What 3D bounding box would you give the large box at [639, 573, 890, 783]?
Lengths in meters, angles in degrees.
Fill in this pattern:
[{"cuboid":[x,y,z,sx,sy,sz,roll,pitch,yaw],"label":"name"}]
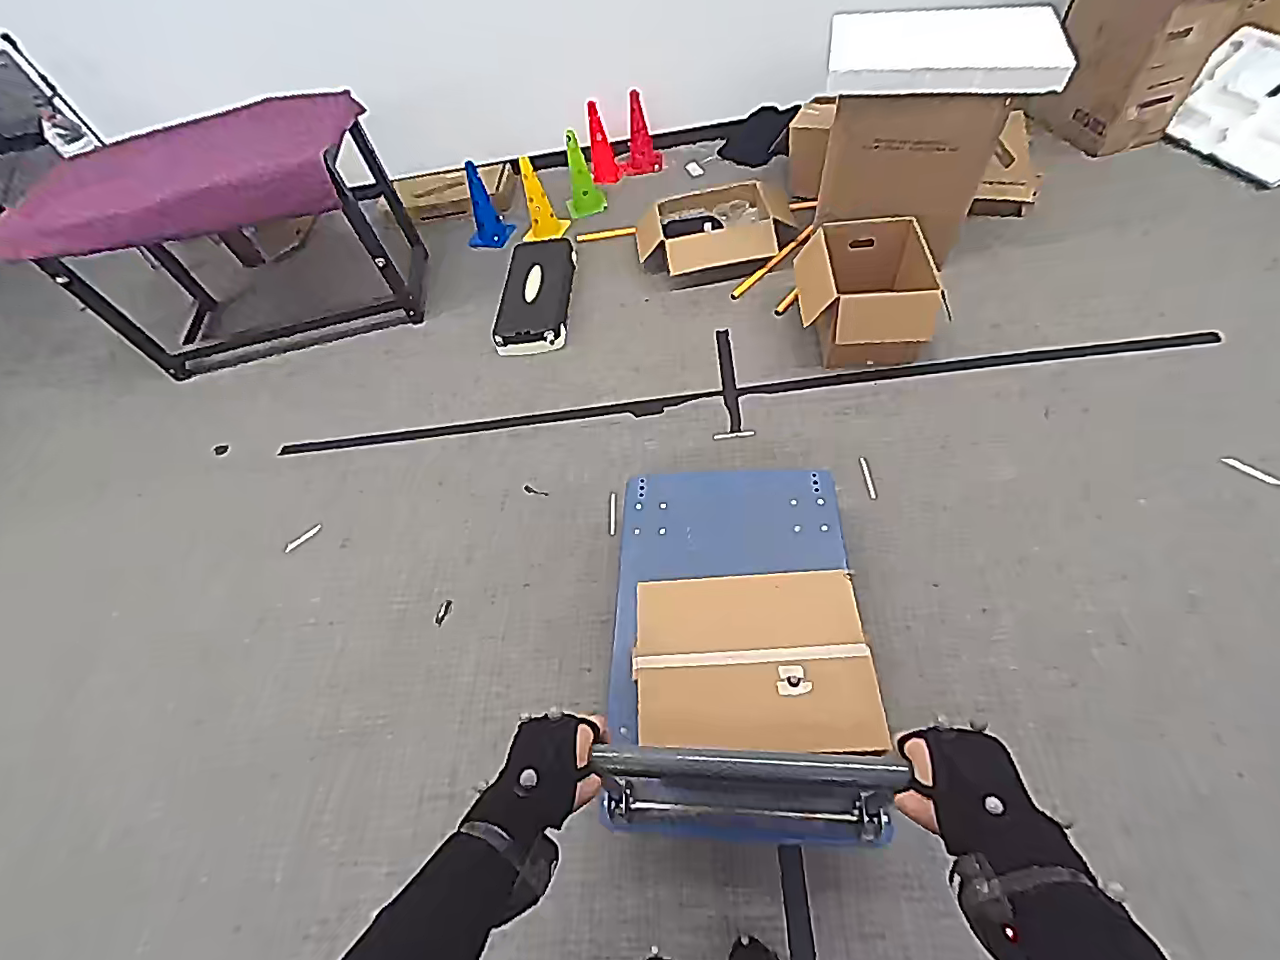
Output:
[{"cuboid":[0.216,0.406,1.081,0.408,0.320,0.320,-5,55,5],"label":"large box"}]
